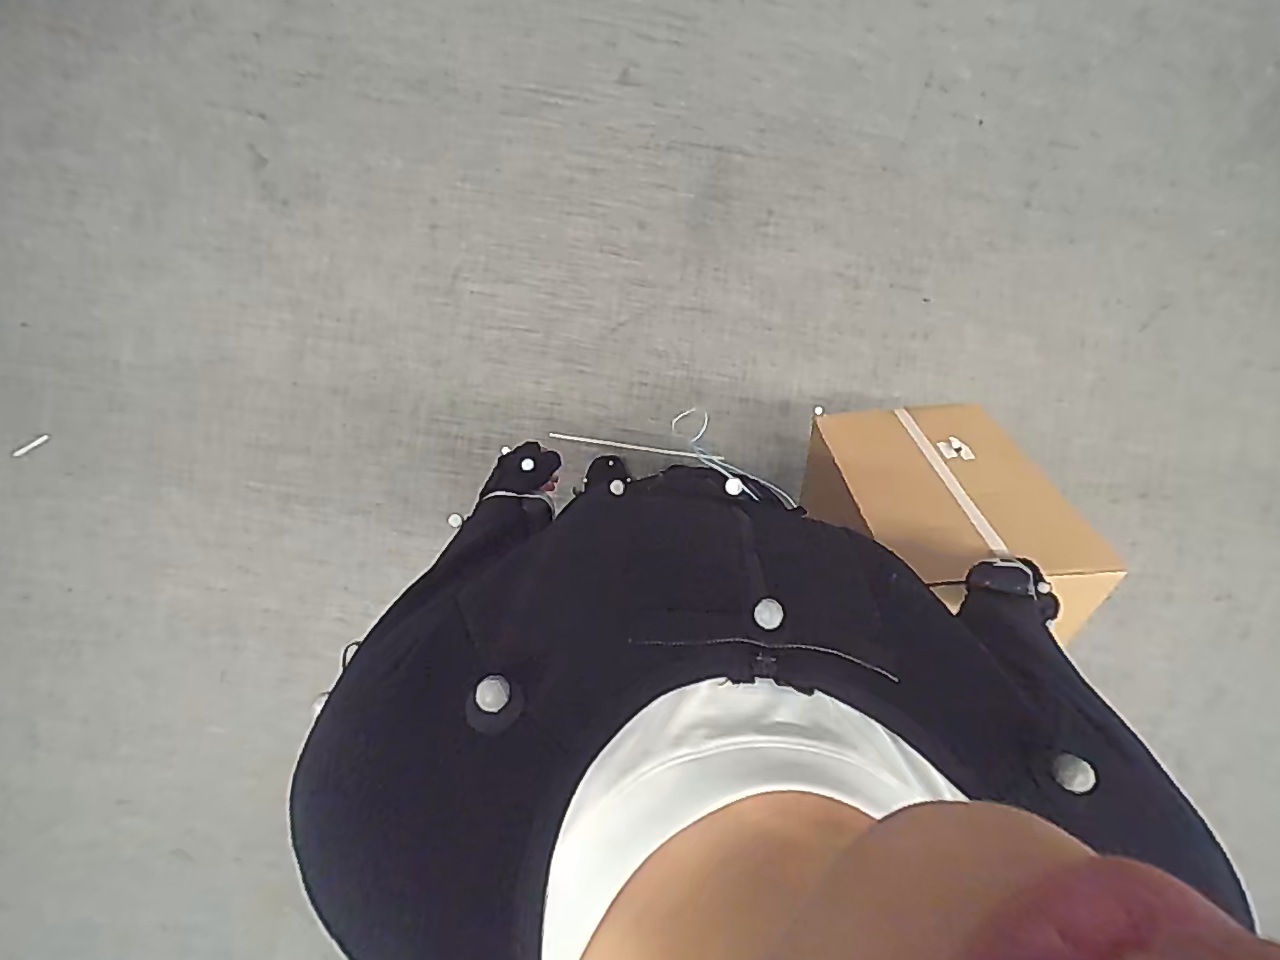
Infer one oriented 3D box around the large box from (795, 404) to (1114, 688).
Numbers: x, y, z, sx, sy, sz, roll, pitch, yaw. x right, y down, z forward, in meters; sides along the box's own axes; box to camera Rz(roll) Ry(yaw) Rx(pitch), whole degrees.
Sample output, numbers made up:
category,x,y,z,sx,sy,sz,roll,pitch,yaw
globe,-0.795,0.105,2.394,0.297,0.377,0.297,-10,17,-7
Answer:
category,x,y,z,sx,sy,sz,roll,pitch,yaw
large box,0.501,0.108,0.984,0.320,0.408,0.320,-4,131,0
